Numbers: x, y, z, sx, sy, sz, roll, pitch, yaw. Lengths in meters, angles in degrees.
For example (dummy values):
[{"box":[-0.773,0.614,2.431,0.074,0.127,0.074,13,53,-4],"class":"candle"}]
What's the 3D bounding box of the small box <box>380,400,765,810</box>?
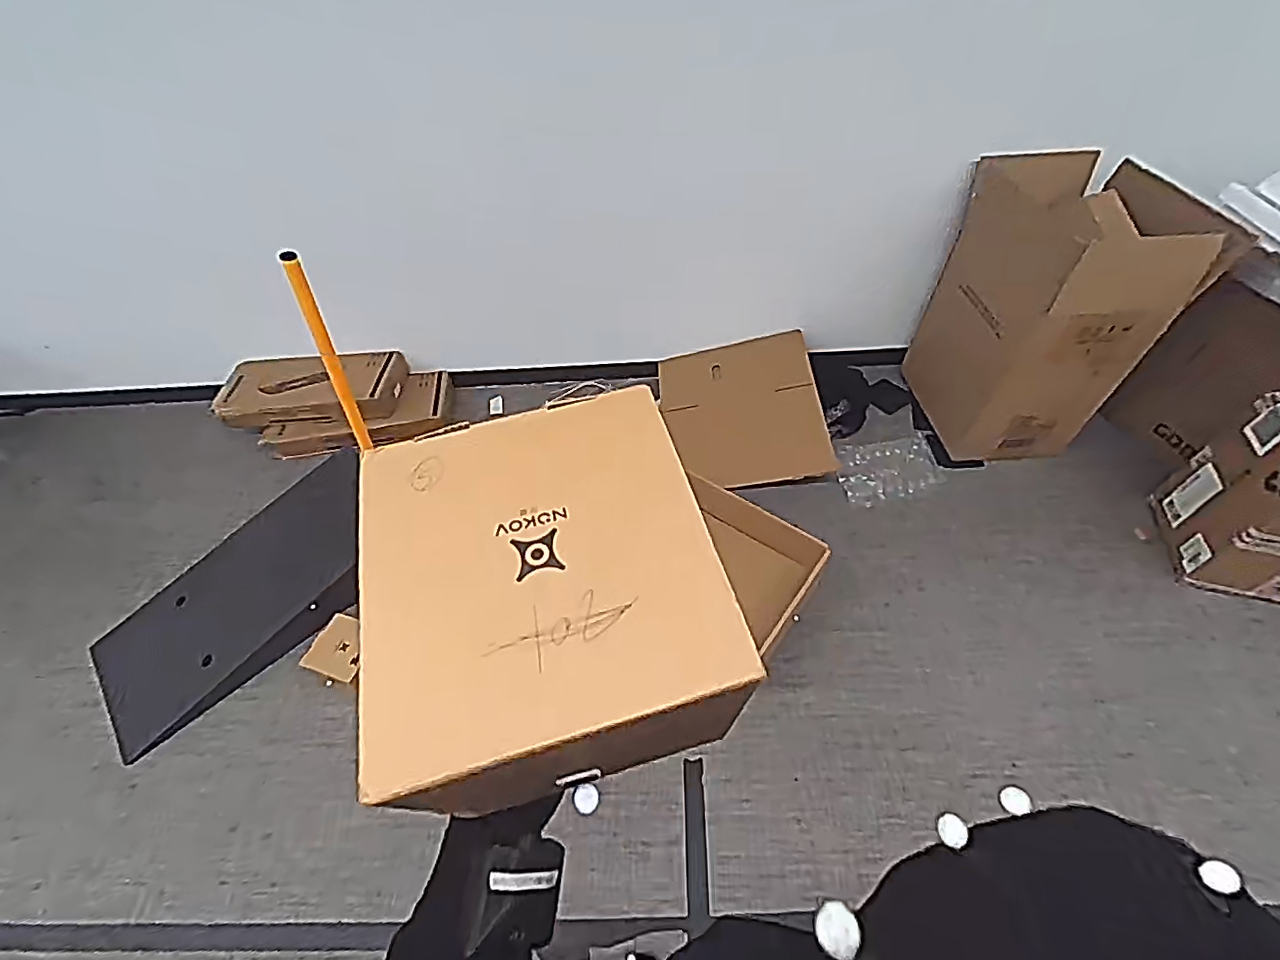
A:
[{"box":[-0.044,0.083,0.336,0.168,0.176,0.179,-15,58,-7],"class":"small box"}]
